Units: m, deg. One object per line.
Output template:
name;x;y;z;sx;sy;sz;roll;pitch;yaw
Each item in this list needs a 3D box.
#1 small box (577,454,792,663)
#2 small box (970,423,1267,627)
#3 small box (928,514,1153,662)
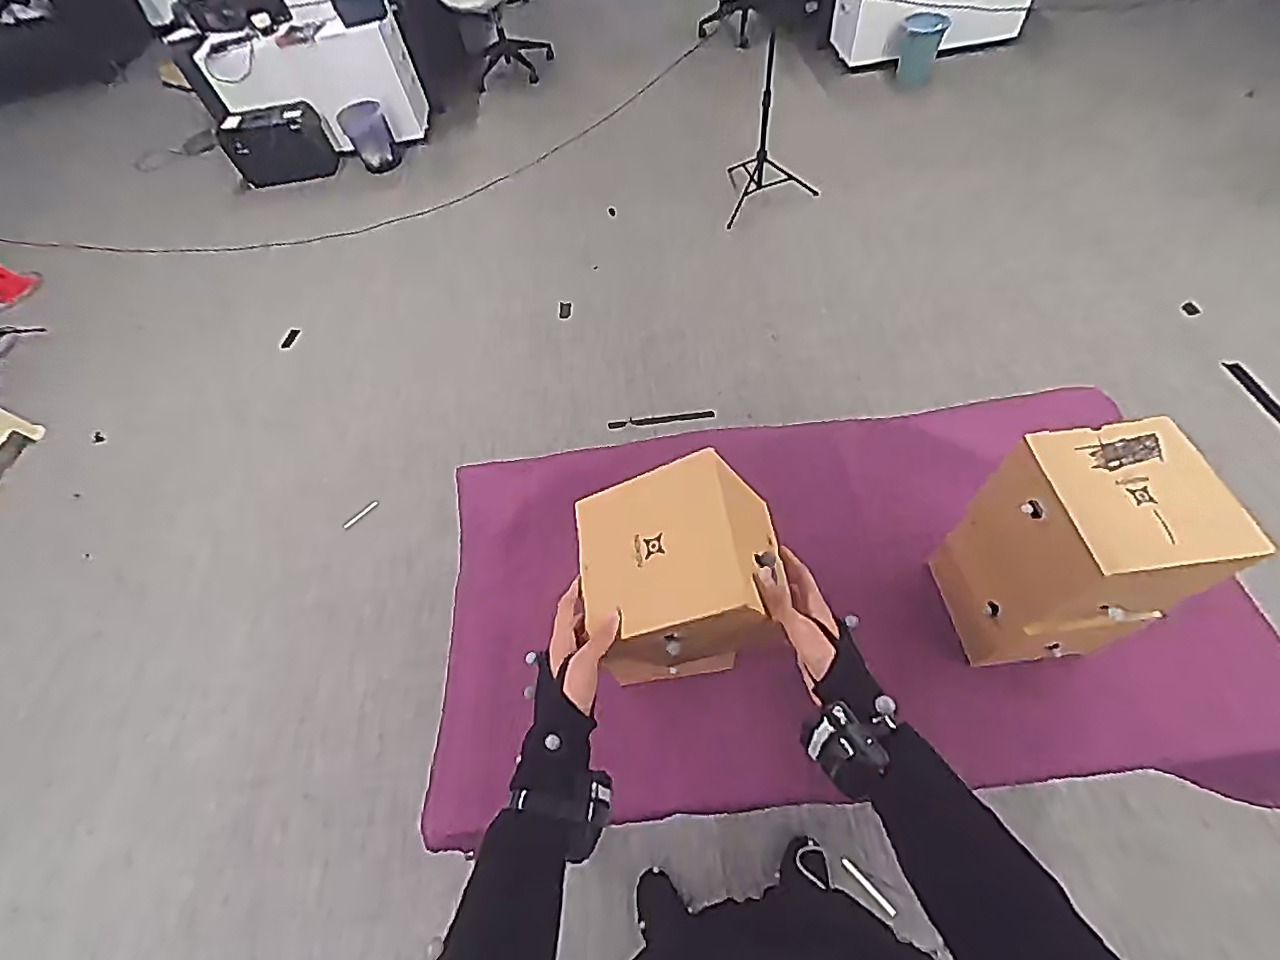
small box;0.054;0.099;0.601;0.179;0.176;0.168;-24;57;25
small box;0.532;0.058;0.641;0.168;0.176;0.179;-8;58;3
small box;0.549;0.153;0.774;0.168;0.176;0.179;-8;57;2
